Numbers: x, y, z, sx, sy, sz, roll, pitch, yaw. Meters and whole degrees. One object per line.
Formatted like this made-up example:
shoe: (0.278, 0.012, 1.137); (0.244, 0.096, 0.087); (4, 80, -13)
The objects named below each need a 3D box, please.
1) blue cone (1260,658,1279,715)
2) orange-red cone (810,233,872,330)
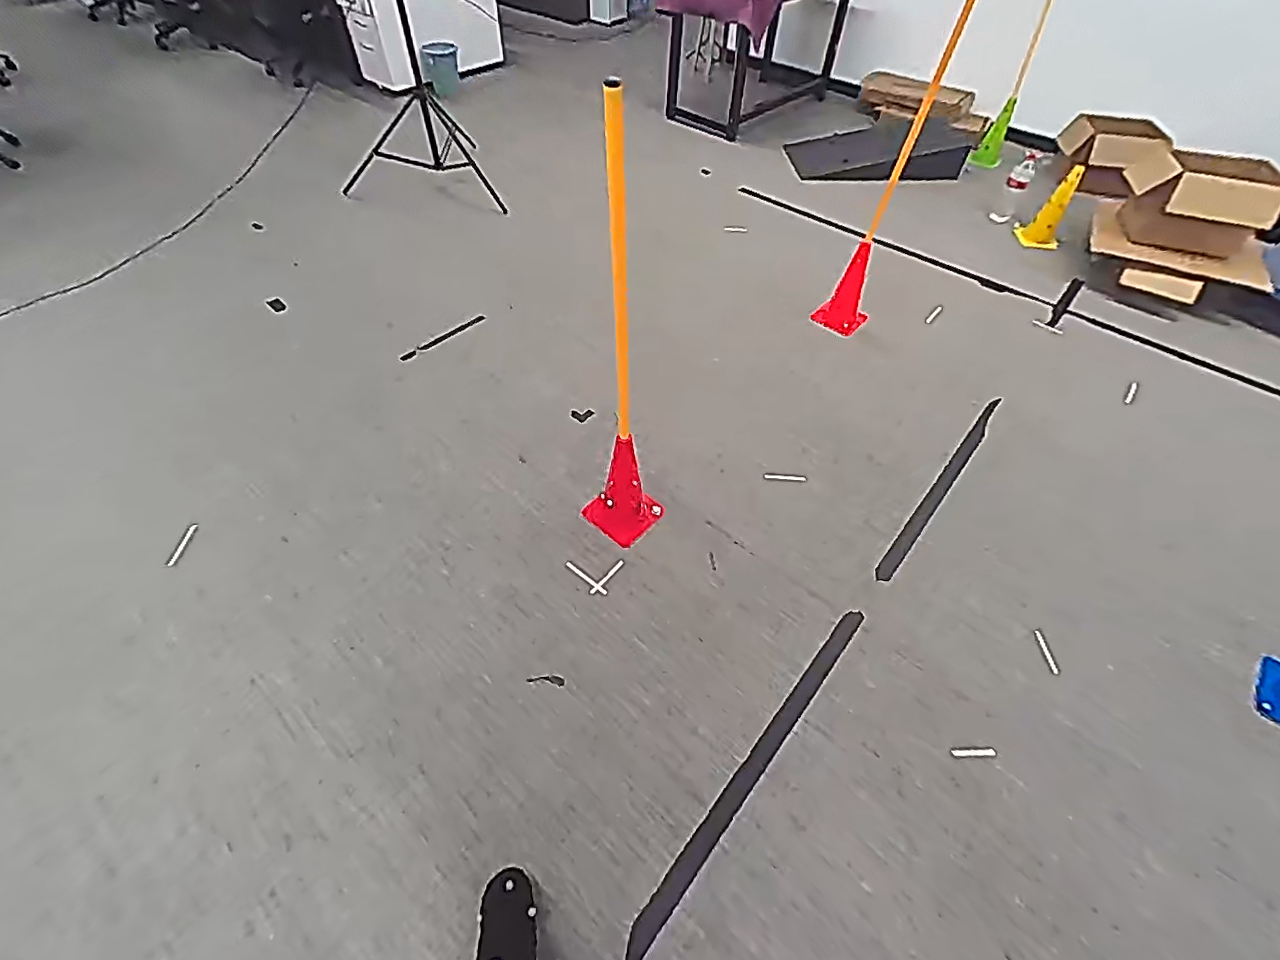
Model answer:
blue cone: (1.737, 0.476, 1.274); (0.193, 0.380, 0.192); (38, 60, 24)
orange-red cone: (0.878, -0.843, 2.239); (0.198, 0.360, 0.199); (38, 59, 24)
